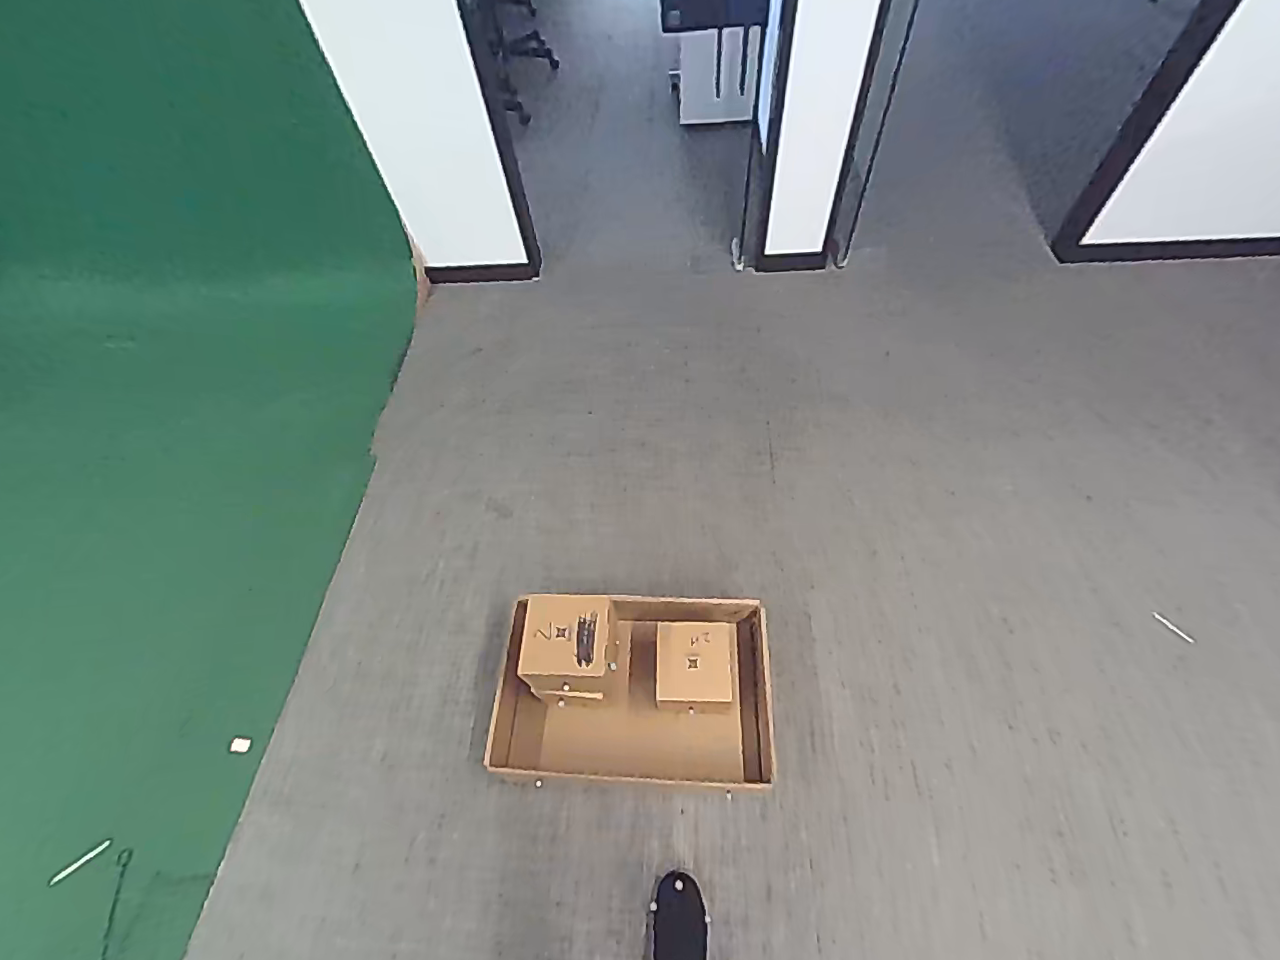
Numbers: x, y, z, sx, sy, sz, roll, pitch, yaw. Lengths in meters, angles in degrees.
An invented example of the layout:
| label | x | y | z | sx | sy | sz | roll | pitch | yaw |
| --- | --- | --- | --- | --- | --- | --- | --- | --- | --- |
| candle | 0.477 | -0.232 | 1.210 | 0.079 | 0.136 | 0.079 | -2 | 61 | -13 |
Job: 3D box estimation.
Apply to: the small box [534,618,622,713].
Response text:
| label | x | y | z | sx | sy | sz | roll | pitch | yaw |
| --- | --- | --- | --- | --- | --- | --- | --- | --- | --- |
| small box | -0.140 | 0.451 | 1.300 | 0.168 | 0.176 | 0.179 | 4 | 57 | 7 |

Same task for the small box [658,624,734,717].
| label | x | y | z | sx | sy | sz | roll | pitch | yaw |
| --- | --- | --- | --- | --- | --- | --- | --- | --- | --- |
| small box | 0.133 | 0.452 | 1.272 | 0.168 | 0.176 | 0.179 | 0 | 58 | 5 |
